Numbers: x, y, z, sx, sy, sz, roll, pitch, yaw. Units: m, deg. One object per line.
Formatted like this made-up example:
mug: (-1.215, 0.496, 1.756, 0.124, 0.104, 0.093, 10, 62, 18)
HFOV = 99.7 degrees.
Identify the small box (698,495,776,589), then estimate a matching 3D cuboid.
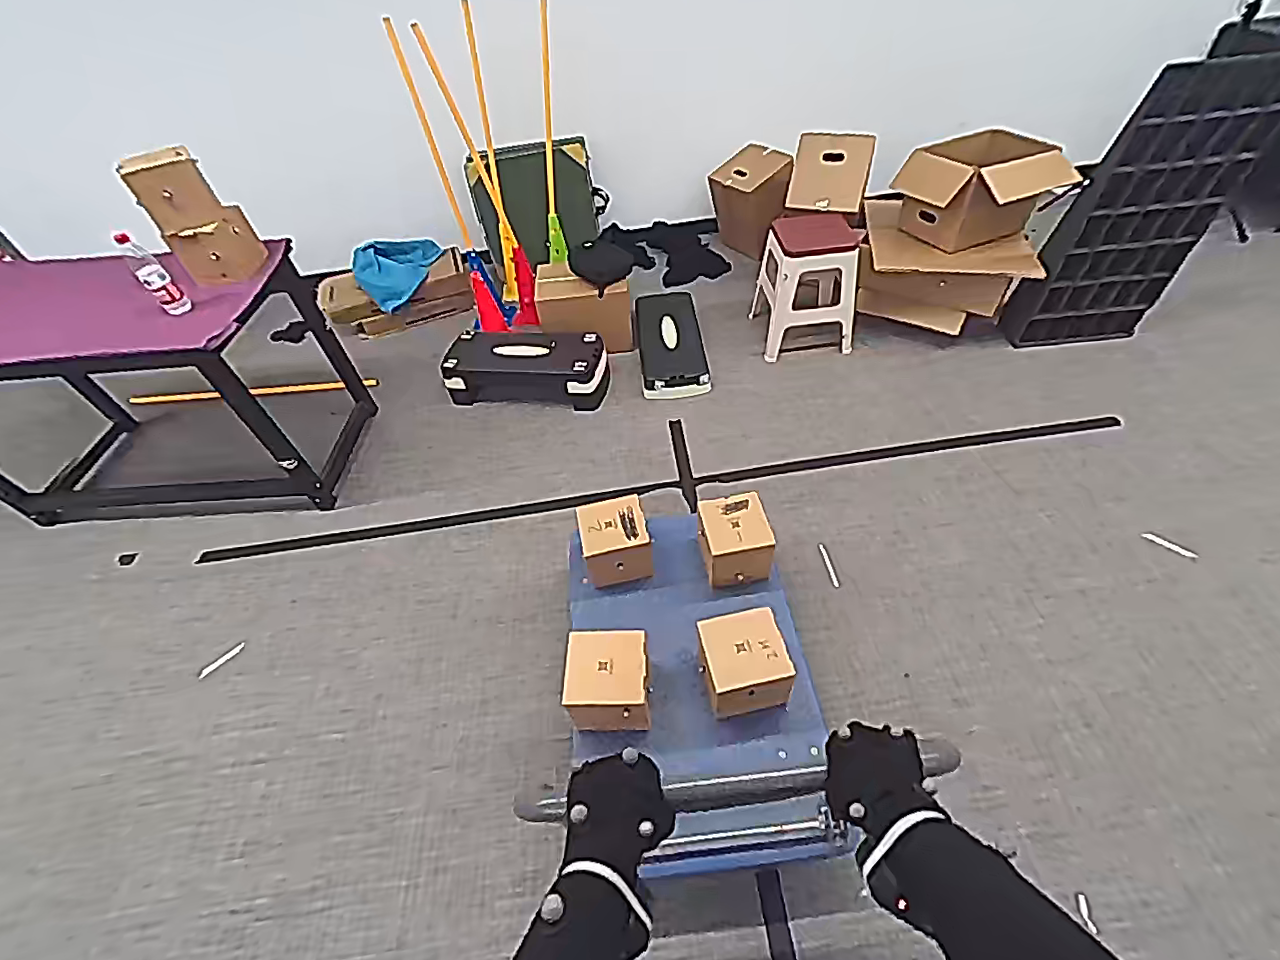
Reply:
small box: (0.254, 0.168, 1.463, 0.168, 0.176, 0.179, -10, 50, -2)

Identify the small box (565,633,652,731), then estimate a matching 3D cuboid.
small box: (-0.065, 0.466, 1.241, 0.179, 0.176, 0.168, -2, 49, 3)

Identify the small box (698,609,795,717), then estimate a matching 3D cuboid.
small box: (0.238, 0.424, 1.242, 0.179, 0.176, 0.168, -12, 49, -3)
